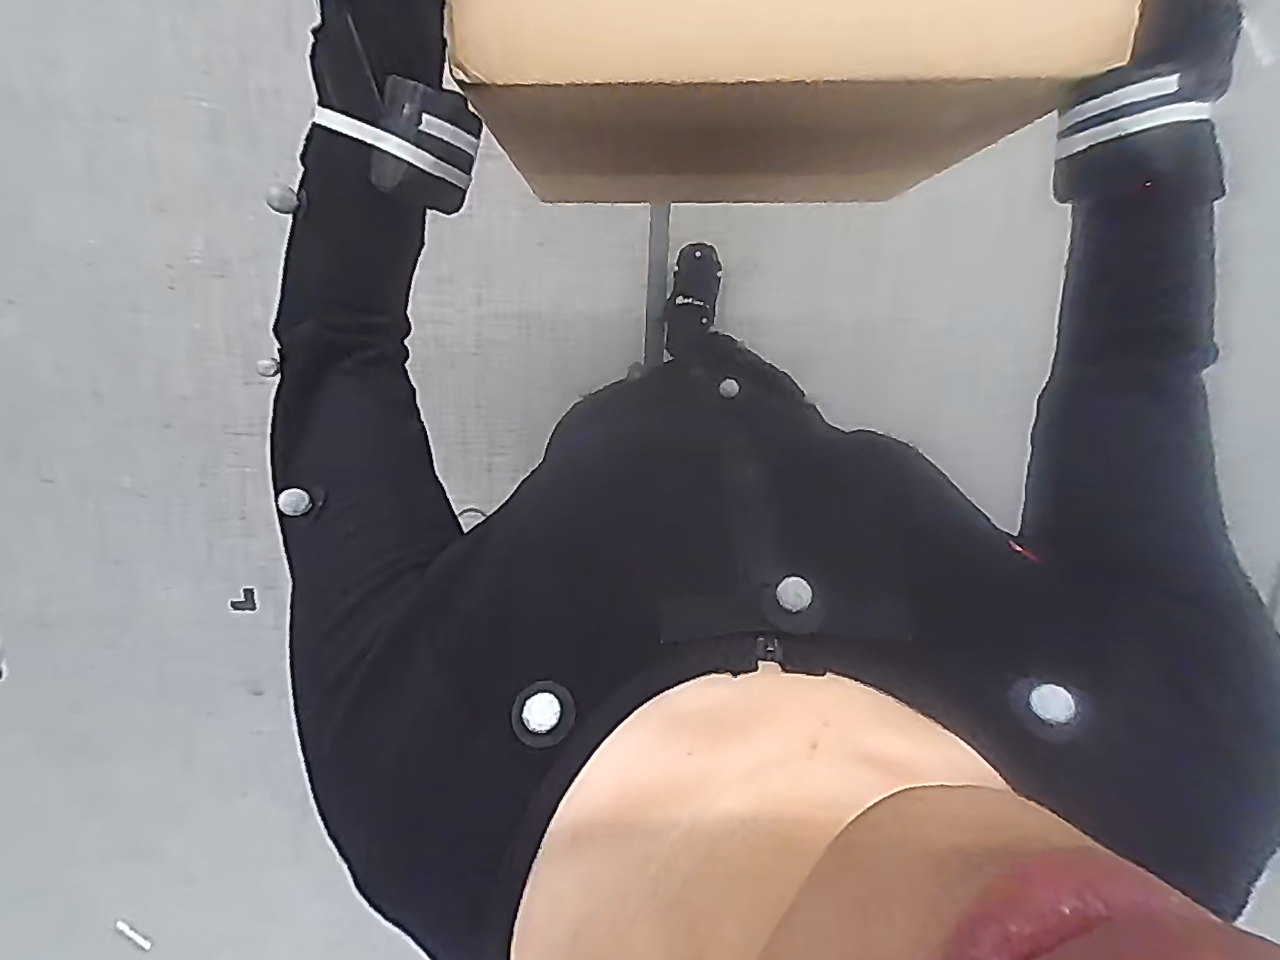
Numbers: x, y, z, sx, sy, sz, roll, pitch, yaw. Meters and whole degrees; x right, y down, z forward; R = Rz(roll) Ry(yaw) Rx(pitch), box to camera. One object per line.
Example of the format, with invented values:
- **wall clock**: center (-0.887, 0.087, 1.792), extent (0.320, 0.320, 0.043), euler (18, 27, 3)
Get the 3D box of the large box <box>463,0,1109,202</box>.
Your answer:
- **large box**: center (0.083, -0.440, 0.446), extent (0.408, 0.320, 0.320), euler (-1, 105, -1)
